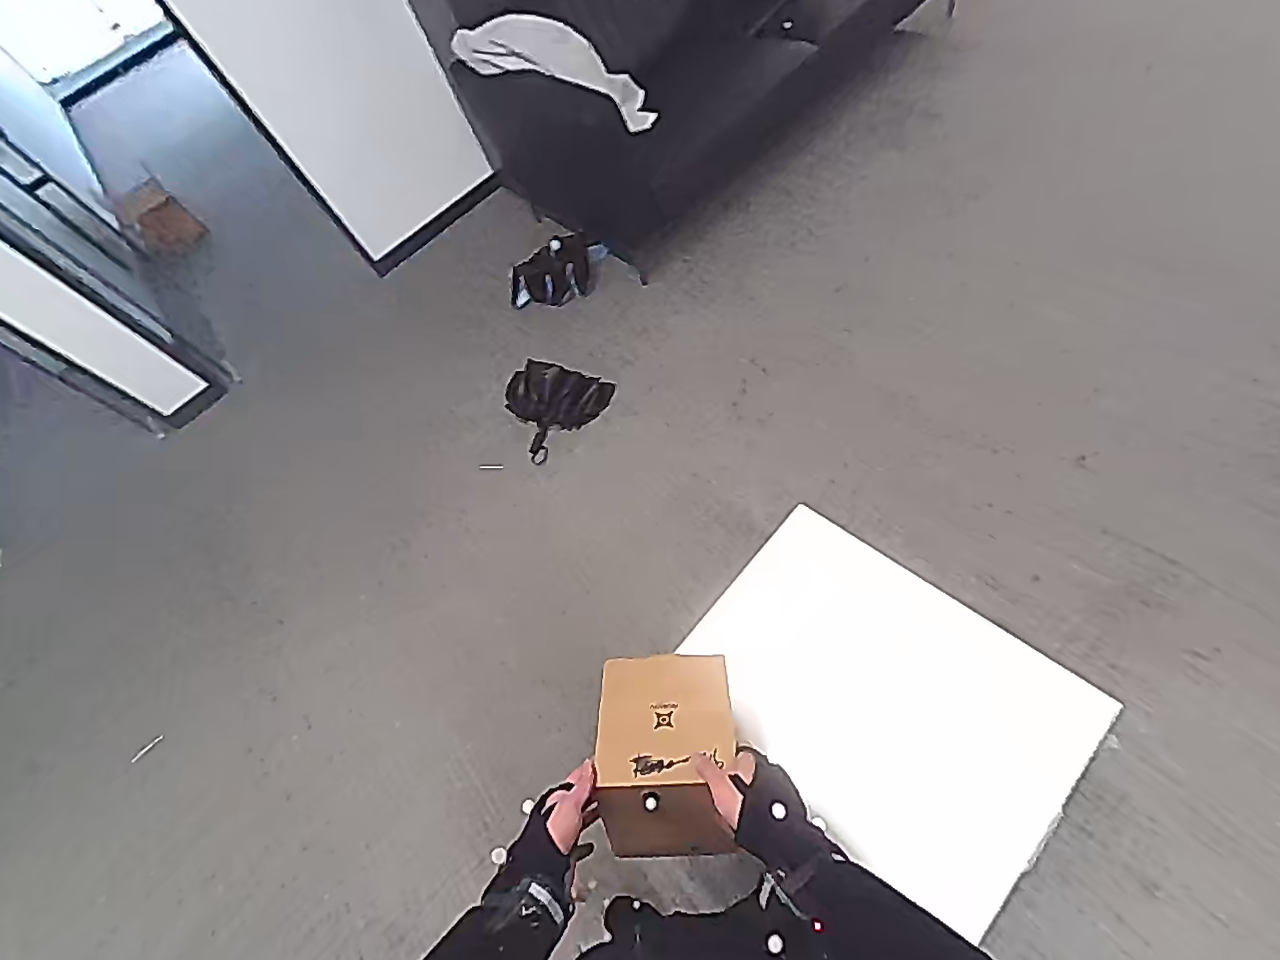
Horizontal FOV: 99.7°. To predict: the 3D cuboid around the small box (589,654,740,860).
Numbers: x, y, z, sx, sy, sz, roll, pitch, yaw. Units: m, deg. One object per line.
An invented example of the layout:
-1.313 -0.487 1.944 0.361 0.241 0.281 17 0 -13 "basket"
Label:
0.035 0.356 0.704 0.168 0.176 0.179 -7 31 4 "small box"
